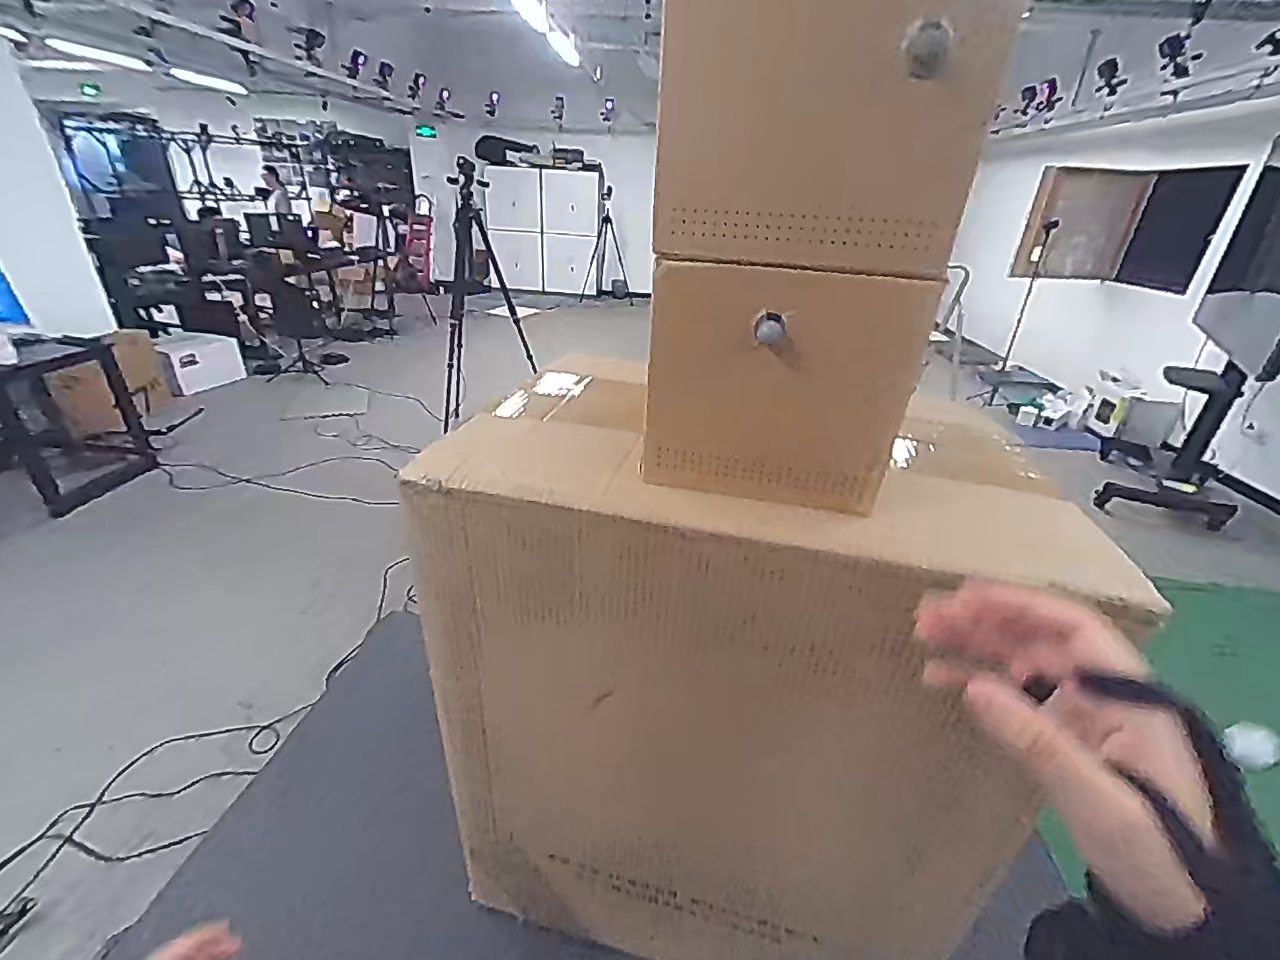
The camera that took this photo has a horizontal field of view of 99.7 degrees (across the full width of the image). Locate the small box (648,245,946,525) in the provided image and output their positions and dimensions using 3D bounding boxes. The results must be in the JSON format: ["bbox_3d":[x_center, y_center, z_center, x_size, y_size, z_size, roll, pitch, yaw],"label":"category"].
[{"bbox_3d":[0.110,-0.082,0.434,0.179,0.176,0.168,9,30,11],"label":"small box"}]
